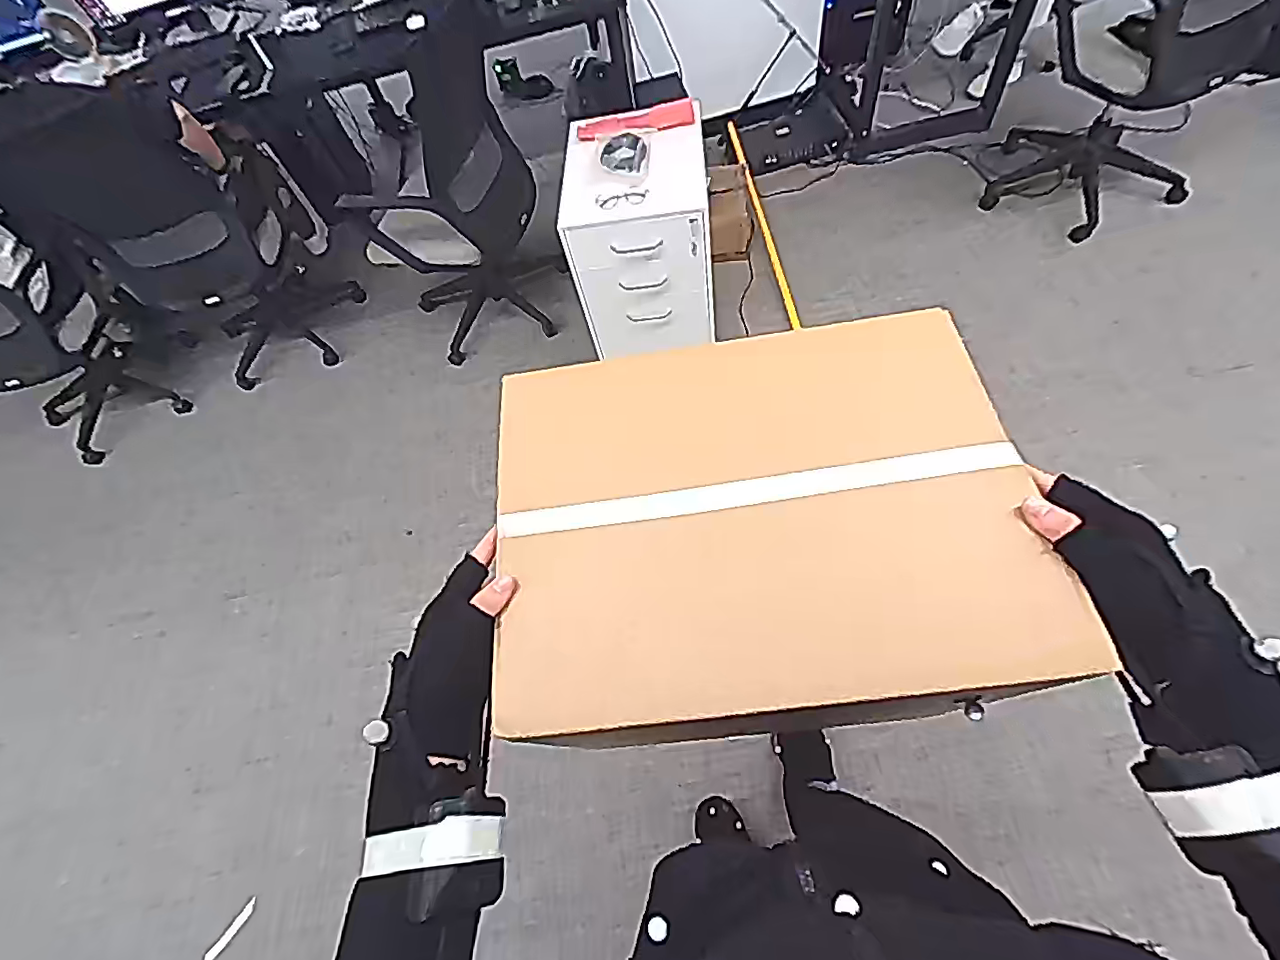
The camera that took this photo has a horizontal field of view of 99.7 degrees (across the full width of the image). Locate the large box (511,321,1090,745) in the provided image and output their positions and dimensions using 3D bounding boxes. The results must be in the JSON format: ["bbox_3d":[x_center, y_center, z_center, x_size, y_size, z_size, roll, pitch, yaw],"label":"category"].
[{"bbox_3d":[0.110,0.085,0.569,0.408,0.320,0.320,-9,61,4],"label":"large box"}]
